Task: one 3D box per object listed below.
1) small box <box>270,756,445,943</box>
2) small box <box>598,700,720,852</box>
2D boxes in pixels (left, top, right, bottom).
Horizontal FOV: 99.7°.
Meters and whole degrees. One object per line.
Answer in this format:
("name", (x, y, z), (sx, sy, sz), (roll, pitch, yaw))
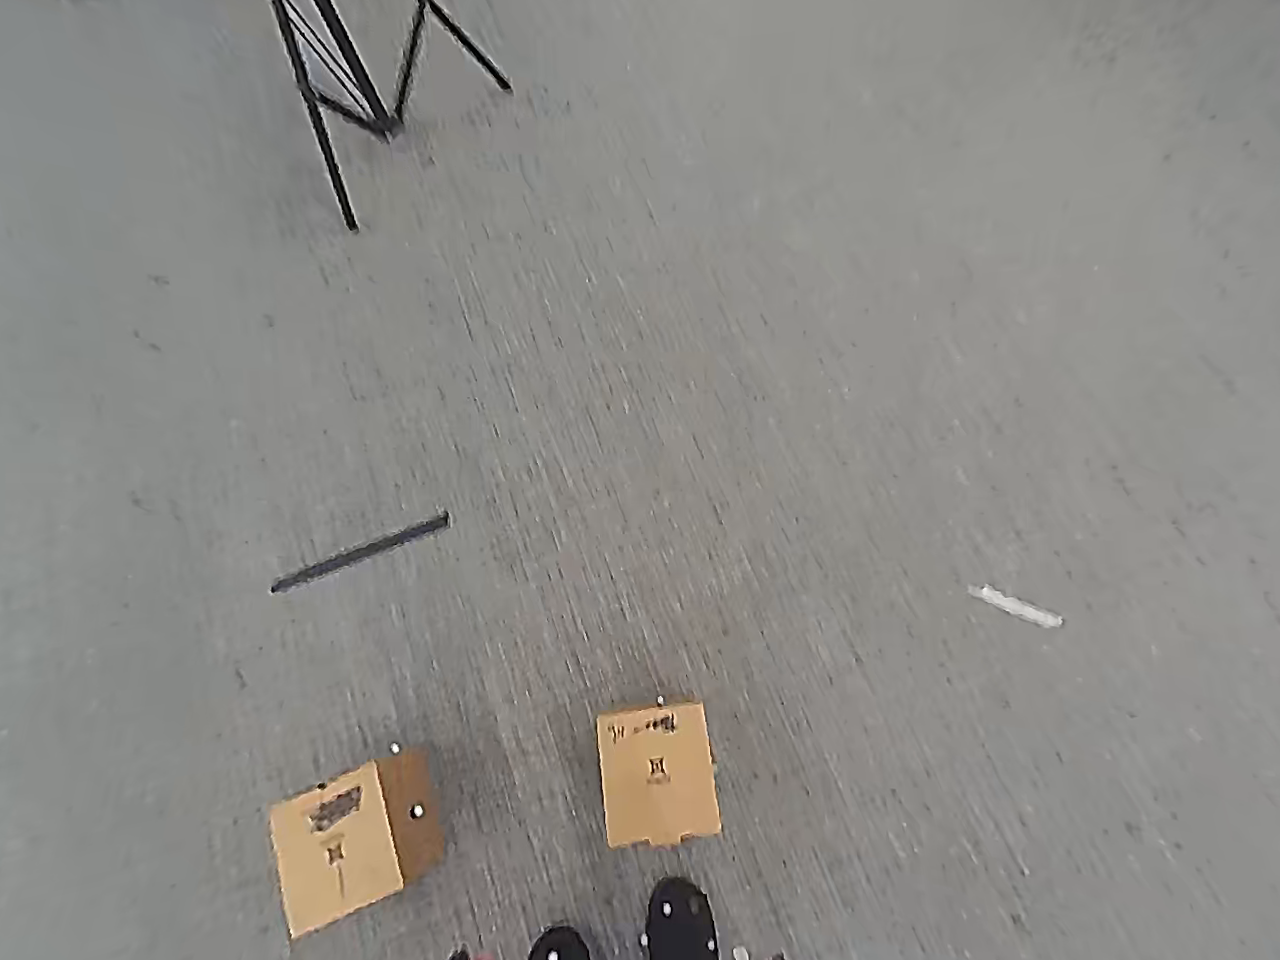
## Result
("small box", (-0.430, 0.552, 0.843), (0.168, 0.176, 0.179), (-22, 72, -6))
("small box", (0.029, 0.458, 0.862), (0.168, 0.176, 0.179), (-7, 71, -1))
